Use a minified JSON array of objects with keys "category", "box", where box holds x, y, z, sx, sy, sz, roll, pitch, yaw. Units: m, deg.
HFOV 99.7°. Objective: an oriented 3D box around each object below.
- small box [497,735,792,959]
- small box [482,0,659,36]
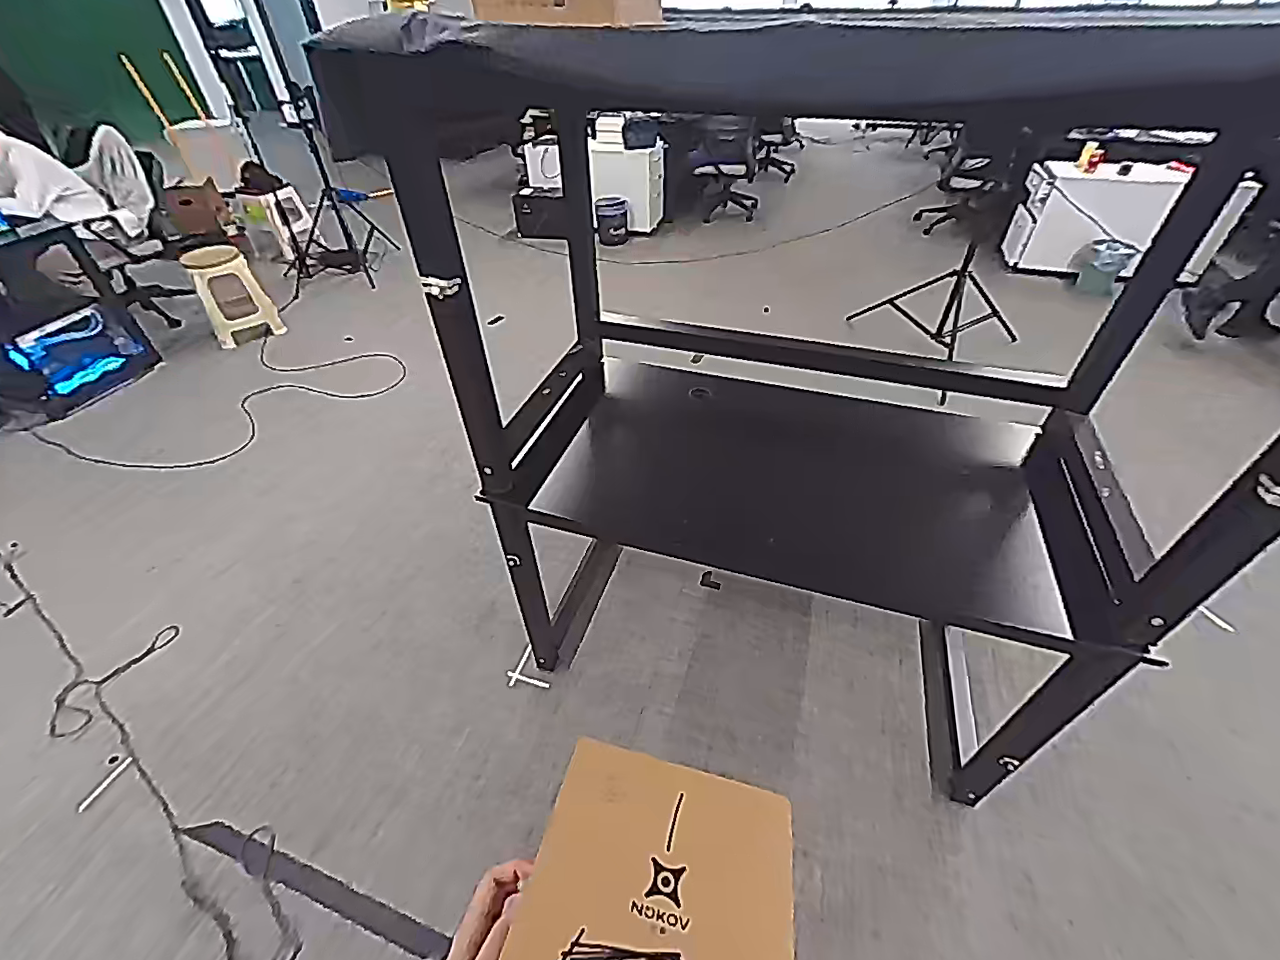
[{"category":"small box","box":[0.003,0.324,0.376,0.168,0.176,0.179,13,31,7]},{"category":"small box","box":[-0.074,-0.592,0.585,0.168,0.176,0.179,12,42,13]}]
